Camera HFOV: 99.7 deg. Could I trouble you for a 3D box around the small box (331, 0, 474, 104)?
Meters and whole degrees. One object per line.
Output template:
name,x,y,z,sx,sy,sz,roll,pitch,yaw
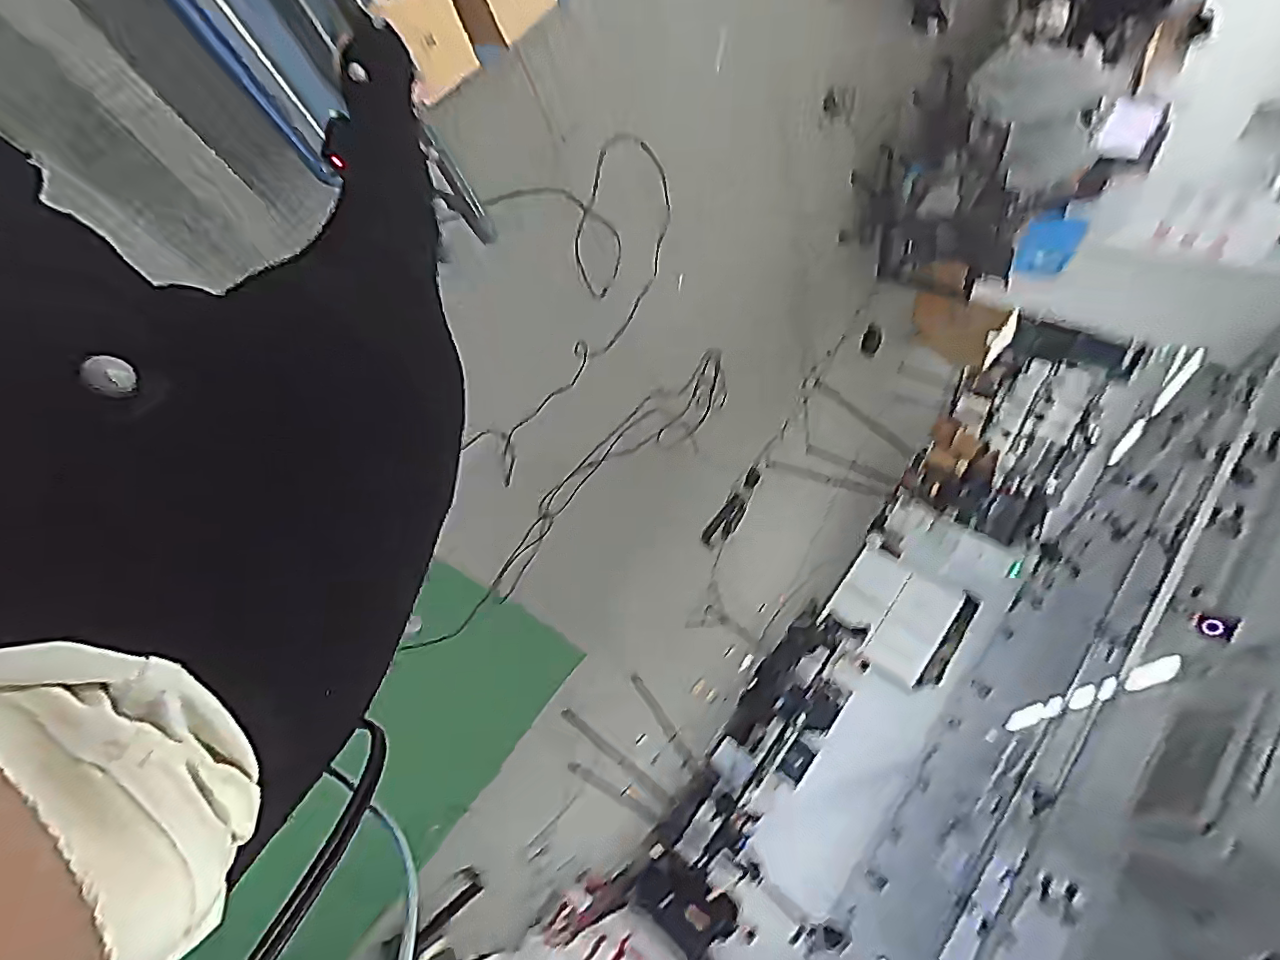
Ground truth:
small box,-0.487,-0.916,1.112,0.179,0.176,0.168,-49,148,-13

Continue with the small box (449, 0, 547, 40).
small box,-0.330,-1.100,1.171,0.179,0.176,0.168,-51,148,-11
